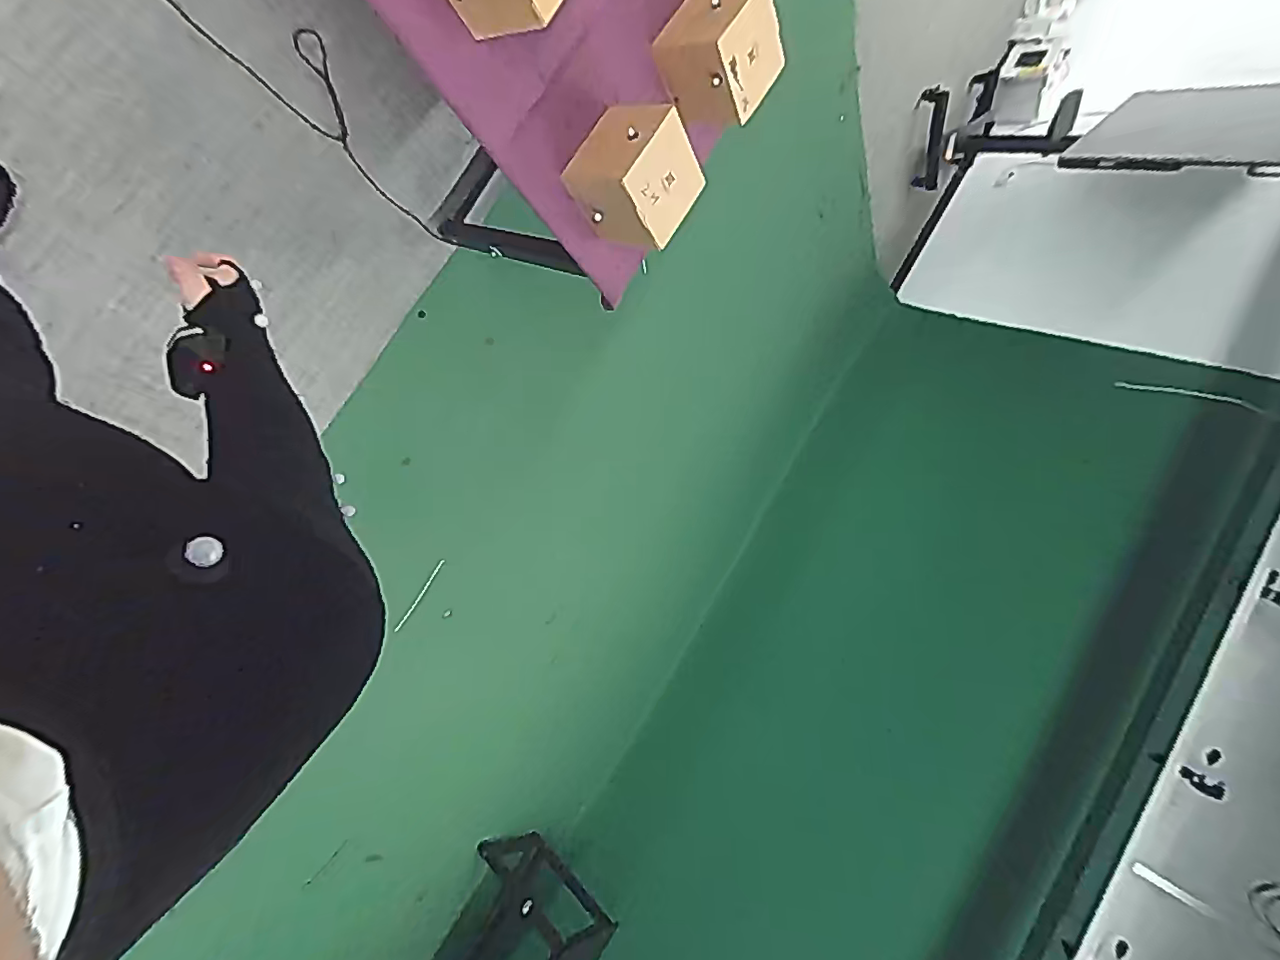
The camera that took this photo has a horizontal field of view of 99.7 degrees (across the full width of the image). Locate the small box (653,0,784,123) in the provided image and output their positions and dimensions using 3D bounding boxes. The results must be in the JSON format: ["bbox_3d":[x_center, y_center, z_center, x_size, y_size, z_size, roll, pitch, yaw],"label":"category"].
[{"bbox_3d":[0.156,-0.849,1.072,0.179,0.176,0.168,-57,145,-8],"label":"small box"}]

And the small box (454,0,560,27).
[{"bbox_3d":[-0.180,-0.746,0.707,0.179,0.176,0.168,-60,146,-4],"label":"small box"}]

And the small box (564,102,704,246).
[{"bbox_3d":[-0.011,-0.582,1.031,0.179,0.176,0.168,-57,144,-8],"label":"small box"}]
